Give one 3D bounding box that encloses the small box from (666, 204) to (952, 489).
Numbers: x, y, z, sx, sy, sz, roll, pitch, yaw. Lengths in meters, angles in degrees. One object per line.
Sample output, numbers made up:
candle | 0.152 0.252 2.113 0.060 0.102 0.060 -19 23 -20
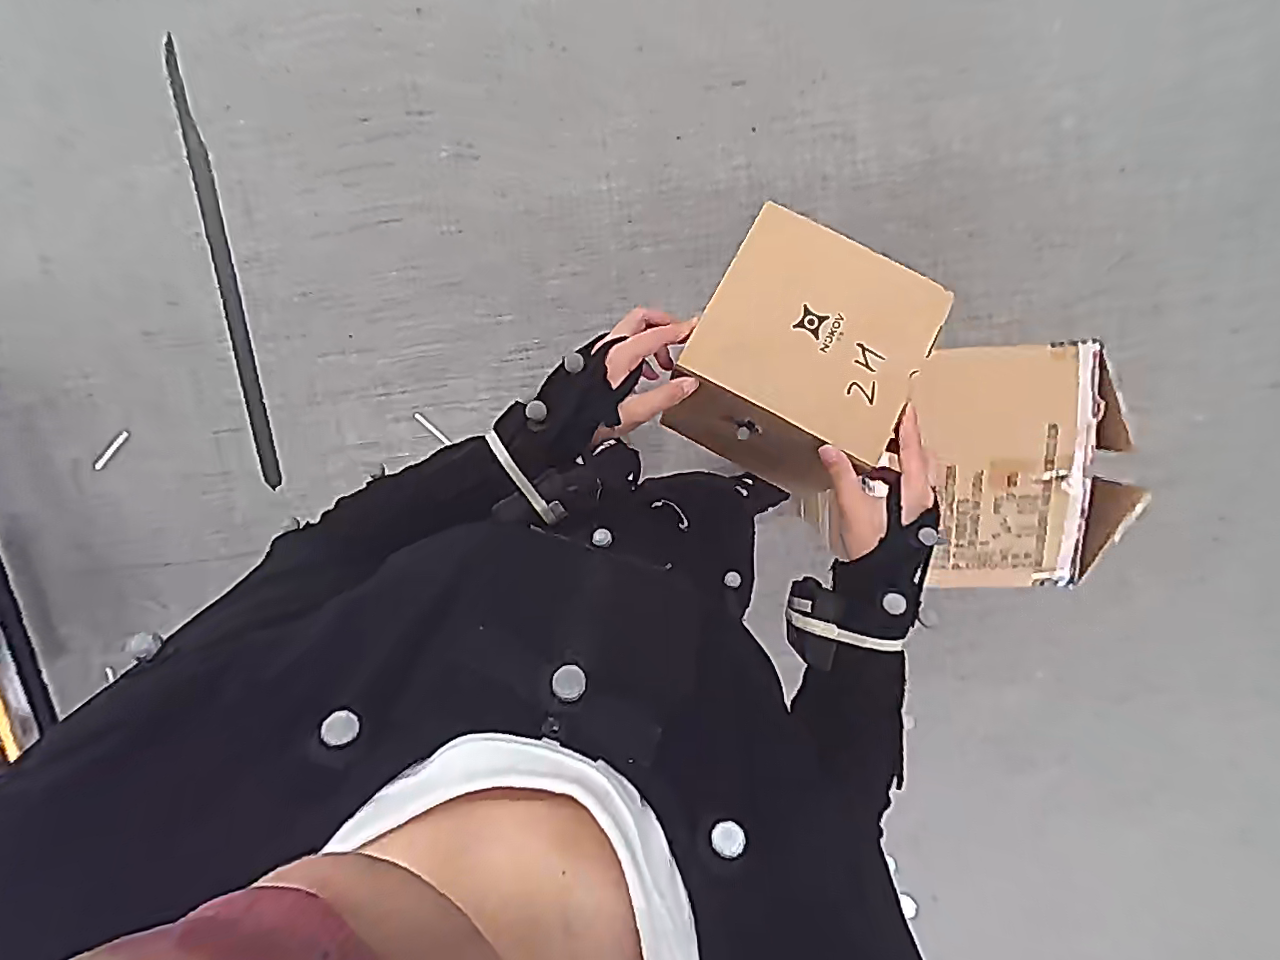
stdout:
small box | 0.136 -0.105 0.505 0.179 0.176 0.168 28 81 3
